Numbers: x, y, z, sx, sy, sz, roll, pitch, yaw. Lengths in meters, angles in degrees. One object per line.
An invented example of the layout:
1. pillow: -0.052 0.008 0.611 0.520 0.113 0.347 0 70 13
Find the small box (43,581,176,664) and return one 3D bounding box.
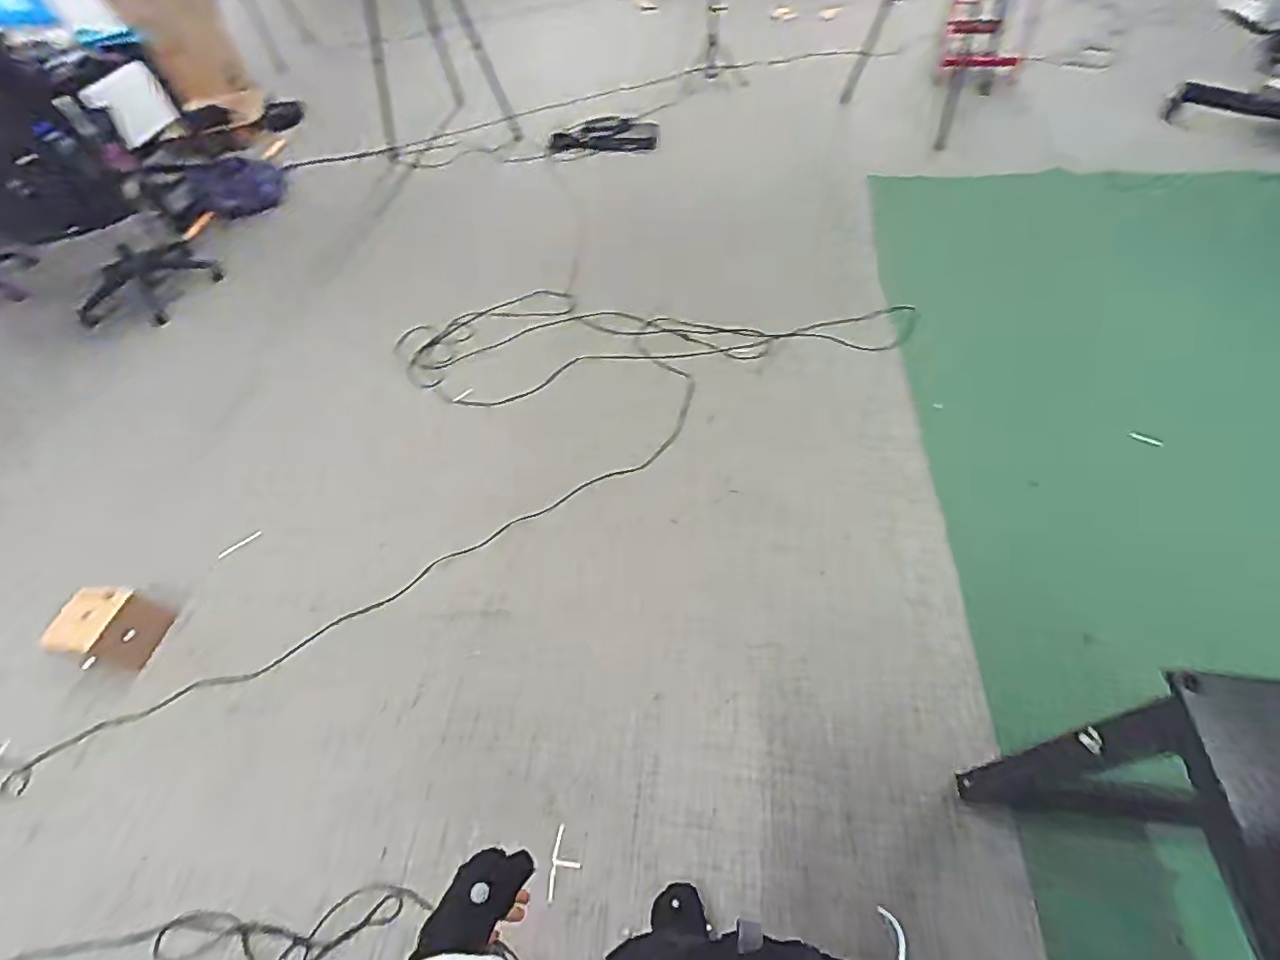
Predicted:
1. small box: -1.484 0.407 1.529 0.168 0.176 0.179 5 55 8
